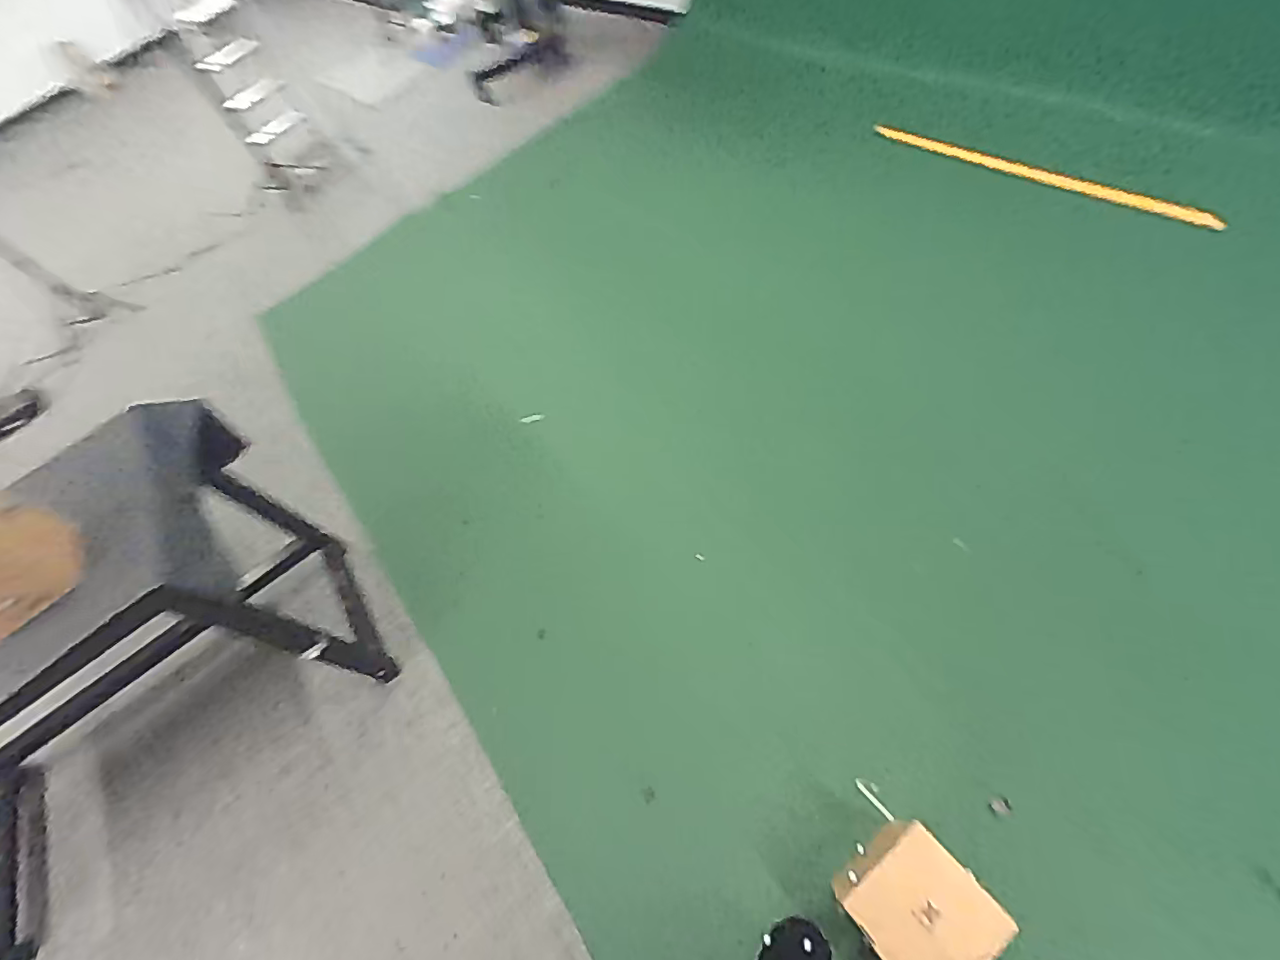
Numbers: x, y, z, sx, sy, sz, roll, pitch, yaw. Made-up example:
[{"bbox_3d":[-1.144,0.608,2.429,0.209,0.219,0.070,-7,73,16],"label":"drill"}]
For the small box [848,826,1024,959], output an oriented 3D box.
[{"bbox_3d":[0.453,0.685,0.862,0.179,0.176,0.168,-40,57,-10],"label":"small box"}]
